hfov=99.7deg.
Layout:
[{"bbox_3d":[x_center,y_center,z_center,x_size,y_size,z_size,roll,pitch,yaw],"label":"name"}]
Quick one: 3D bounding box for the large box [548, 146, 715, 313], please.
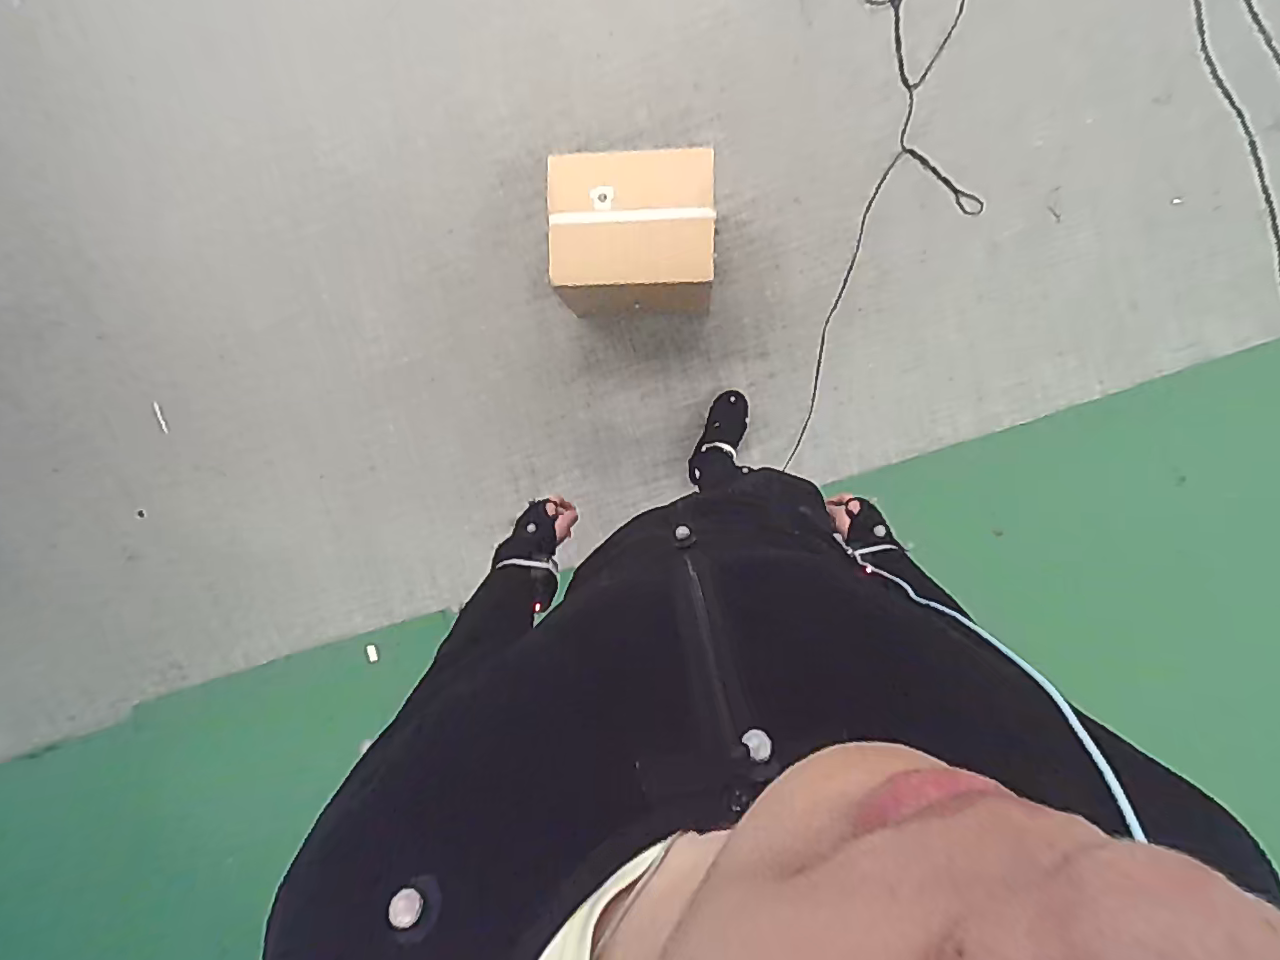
[{"bbox_3d":[-0.006,-0.642,1.447,0.408,0.320,0.320,0,93,7],"label":"large box"}]
